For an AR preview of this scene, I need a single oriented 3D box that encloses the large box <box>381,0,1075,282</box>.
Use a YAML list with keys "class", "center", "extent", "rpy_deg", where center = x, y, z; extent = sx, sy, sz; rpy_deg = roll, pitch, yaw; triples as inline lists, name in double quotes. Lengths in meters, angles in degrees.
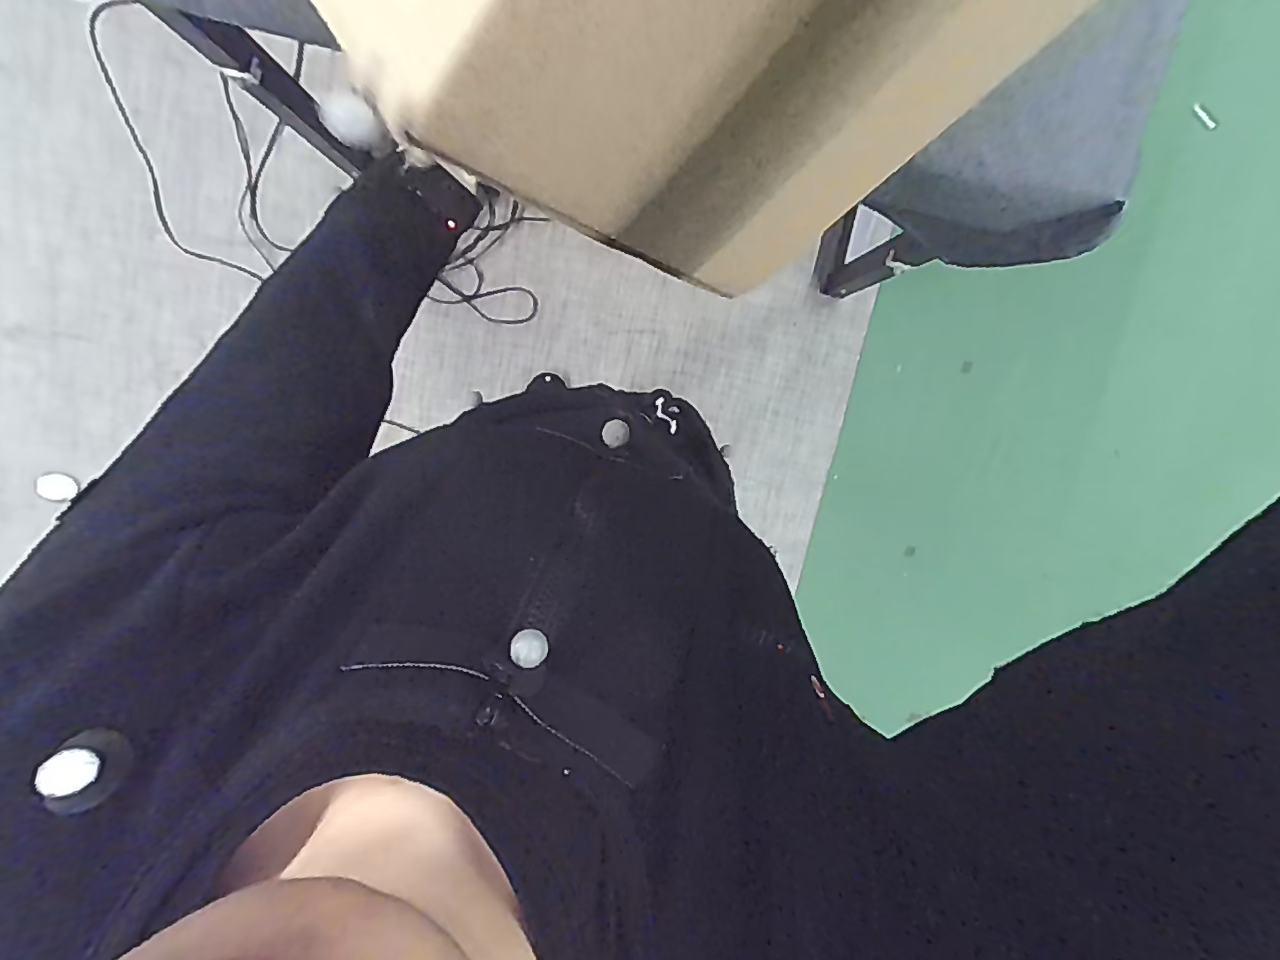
- class: "large box"
  center: [0.078, -0.355, 0.223]
  extent: [0.408, 0.320, 0.320]
  rpy_deg: [-38, 81, 29]
